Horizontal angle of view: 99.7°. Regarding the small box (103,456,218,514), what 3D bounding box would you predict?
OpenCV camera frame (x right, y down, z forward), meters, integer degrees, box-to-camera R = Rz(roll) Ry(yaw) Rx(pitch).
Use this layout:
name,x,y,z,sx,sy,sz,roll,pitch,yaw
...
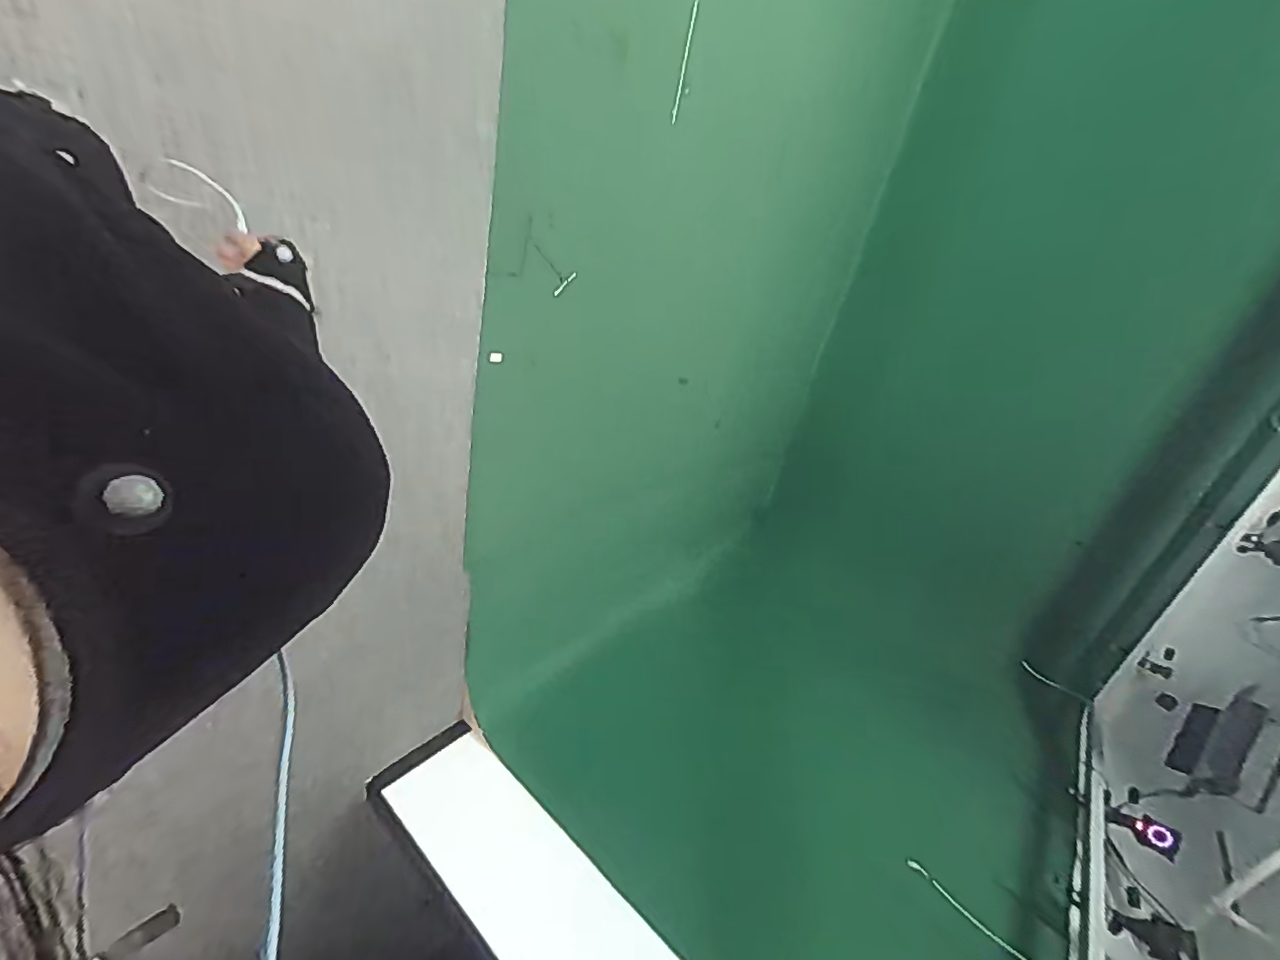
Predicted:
name,x,y,z,sx,sy,sz,roll,pitch,yaw
small box,-1.098,0.066,1.253,0.179,0.176,0.168,-27,136,-45
